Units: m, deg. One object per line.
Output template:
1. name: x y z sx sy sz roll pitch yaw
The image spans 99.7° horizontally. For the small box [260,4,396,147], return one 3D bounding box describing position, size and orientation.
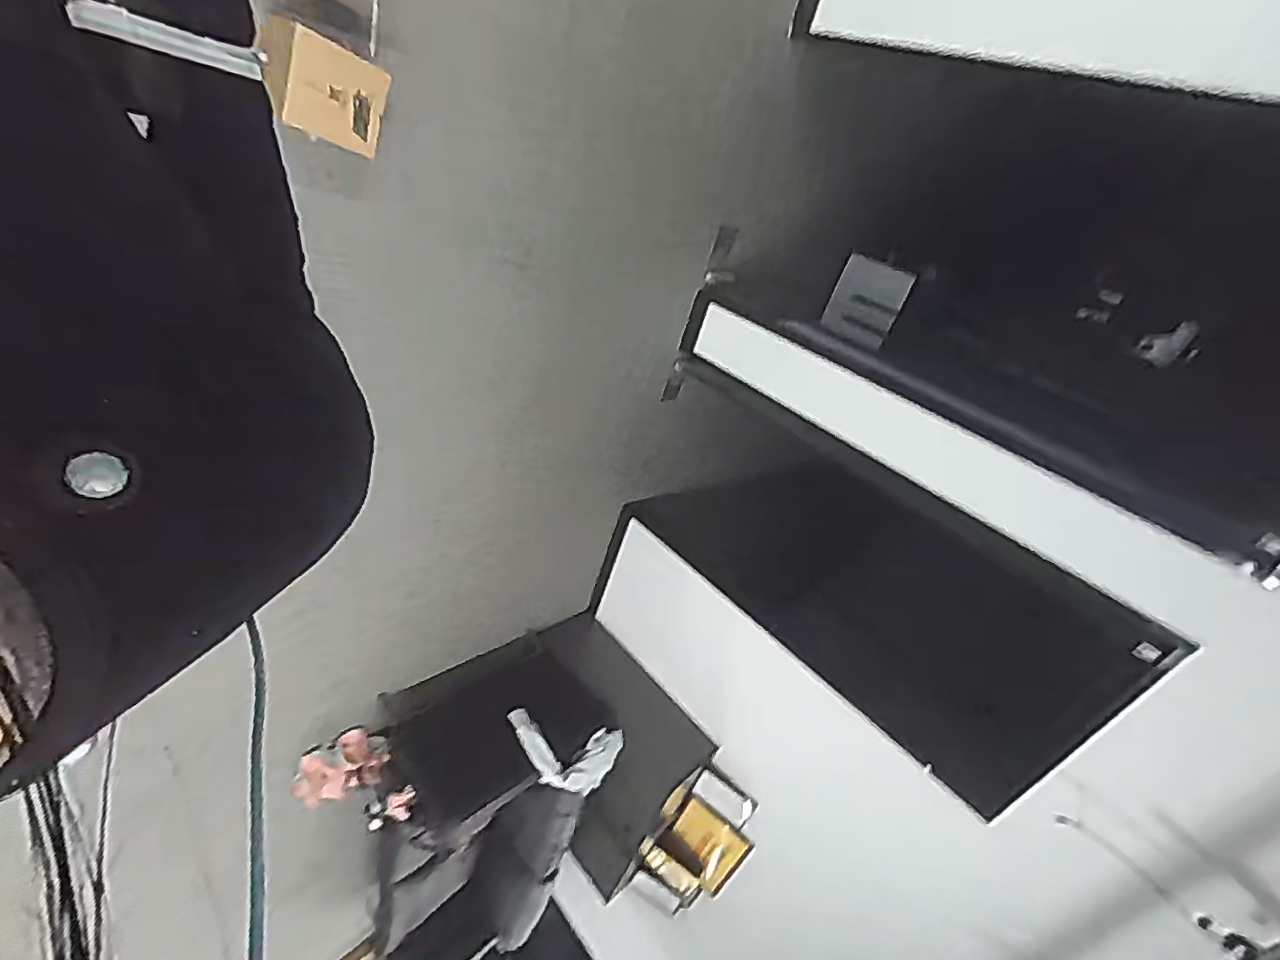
1. small box: -0.628 -0.811 1.086 0.179 0.176 0.168 -3 126 -51
